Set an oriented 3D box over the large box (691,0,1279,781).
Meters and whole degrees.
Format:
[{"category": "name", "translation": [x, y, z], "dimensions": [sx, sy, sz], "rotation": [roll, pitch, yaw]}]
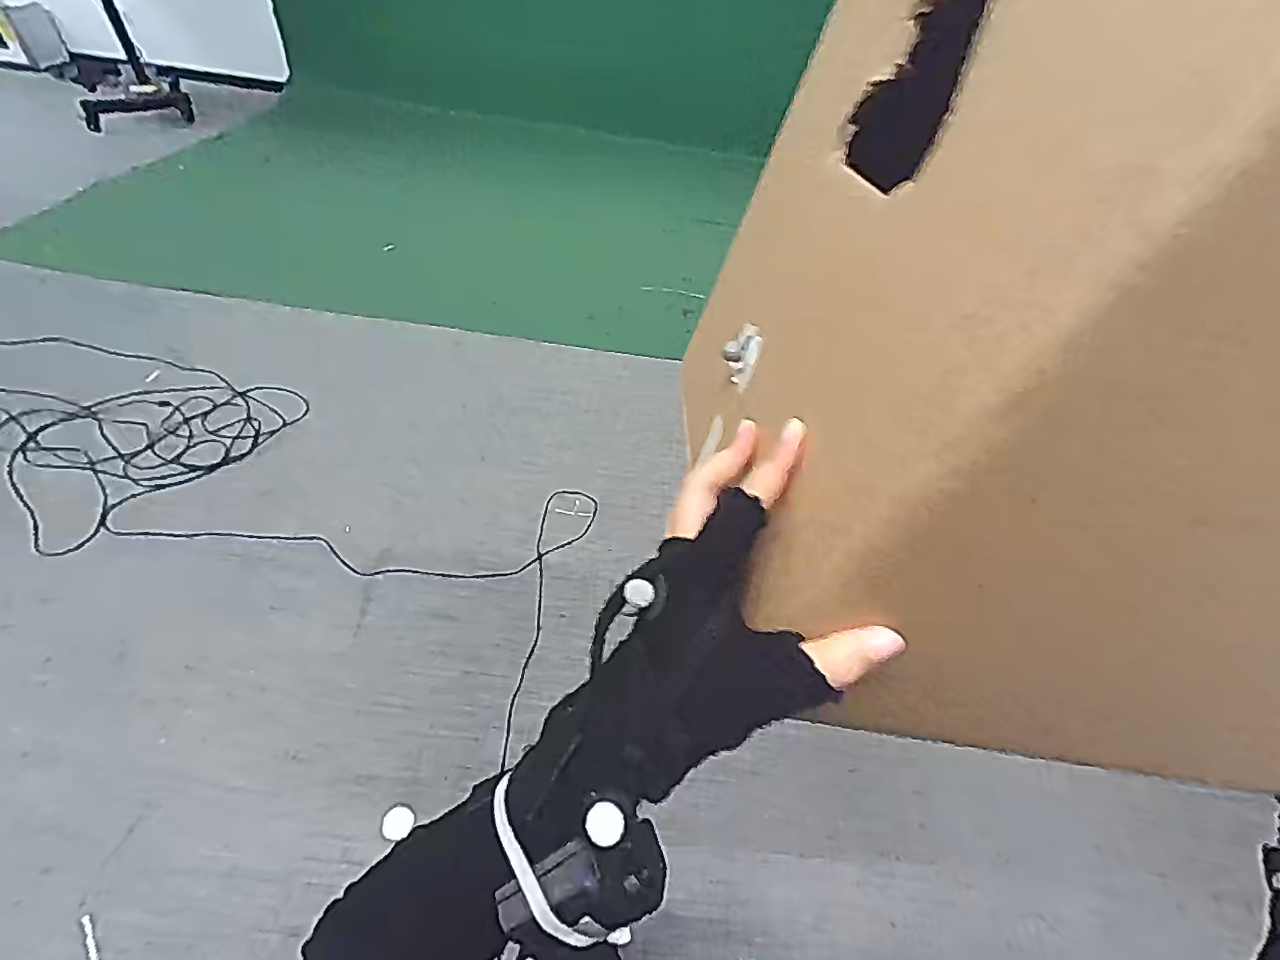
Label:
[{"category": "large box", "translation": [0.282, -0.053, 0.322], "dimensions": [0.408, 0.320, 0.320], "rotation": [14, 41, -14]}]
